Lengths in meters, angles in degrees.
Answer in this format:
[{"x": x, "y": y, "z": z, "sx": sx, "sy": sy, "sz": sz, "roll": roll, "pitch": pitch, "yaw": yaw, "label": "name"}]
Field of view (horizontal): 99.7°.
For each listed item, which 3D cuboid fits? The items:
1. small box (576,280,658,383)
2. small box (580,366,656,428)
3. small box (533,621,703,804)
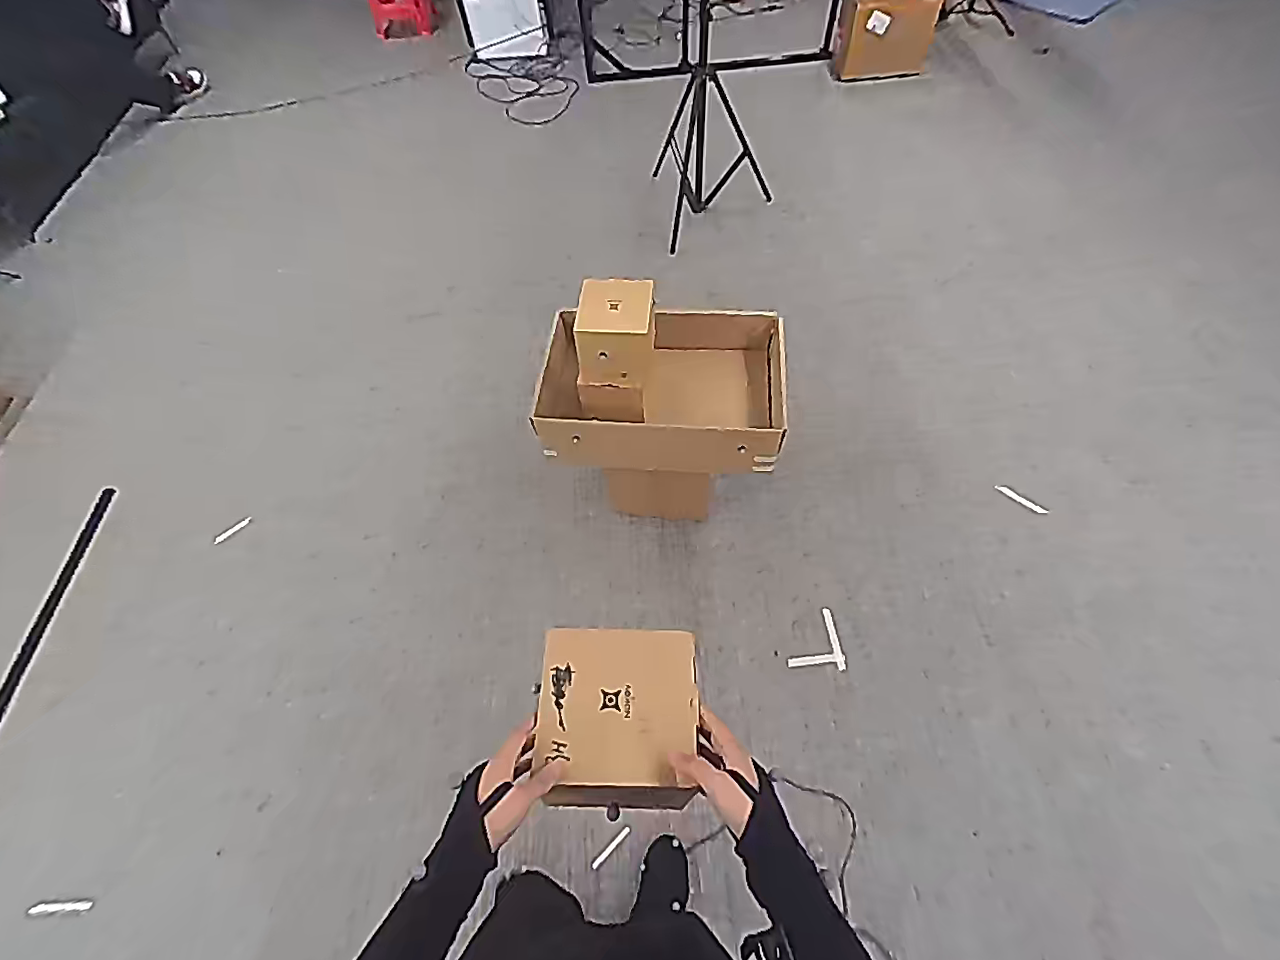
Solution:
[{"x": -0.047, "y": -0.349, "z": 1.283, "sx": 0.168, "sy": 0.176, "sz": 0.179, "roll": 3, "pitch": 58, "yaw": 5, "label": "small box"}, {"x": -0.049, "y": -0.256, "z": 1.418, "sx": 0.168, "sy": 0.176, "sz": 0.179, "roll": 6, "pitch": 59, "yaw": 7, "label": "small box"}, {"x": -0.024, "y": 0.286, "z": 0.657, "sx": 0.179, "sy": 0.176, "sz": 0.168, "roll": 4, "pitch": 52, "yaw": -2, "label": "small box"}]
